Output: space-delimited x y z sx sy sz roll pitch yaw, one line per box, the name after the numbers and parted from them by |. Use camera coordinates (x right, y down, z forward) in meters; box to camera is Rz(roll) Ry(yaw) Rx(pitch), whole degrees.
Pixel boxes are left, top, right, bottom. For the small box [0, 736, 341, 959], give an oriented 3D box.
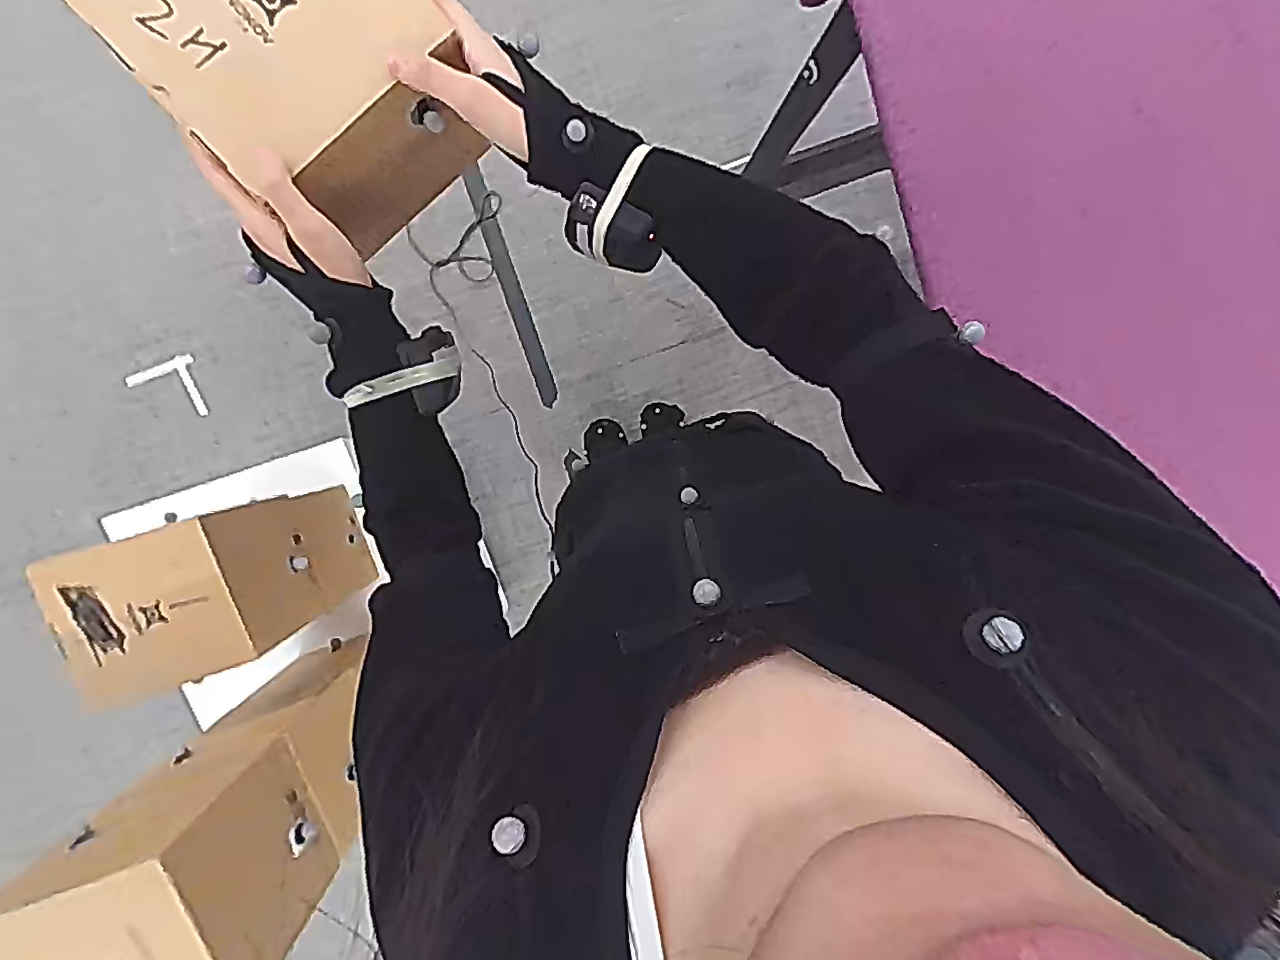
-0.425 0.380 0.503 0.179 0.176 0.168 -21 98 -2 | small box

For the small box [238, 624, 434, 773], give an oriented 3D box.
-0.447 0.346 0.826 0.179 0.176 0.168 -19 97 -1 | small box

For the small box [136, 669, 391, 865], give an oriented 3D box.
-0.434 0.362 0.664 0.179 0.176 0.168 -20 98 -1 | small box

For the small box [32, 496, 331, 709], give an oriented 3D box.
-0.507 0.127 0.630 0.179 0.176 0.168 -18 98 -3 | small box
